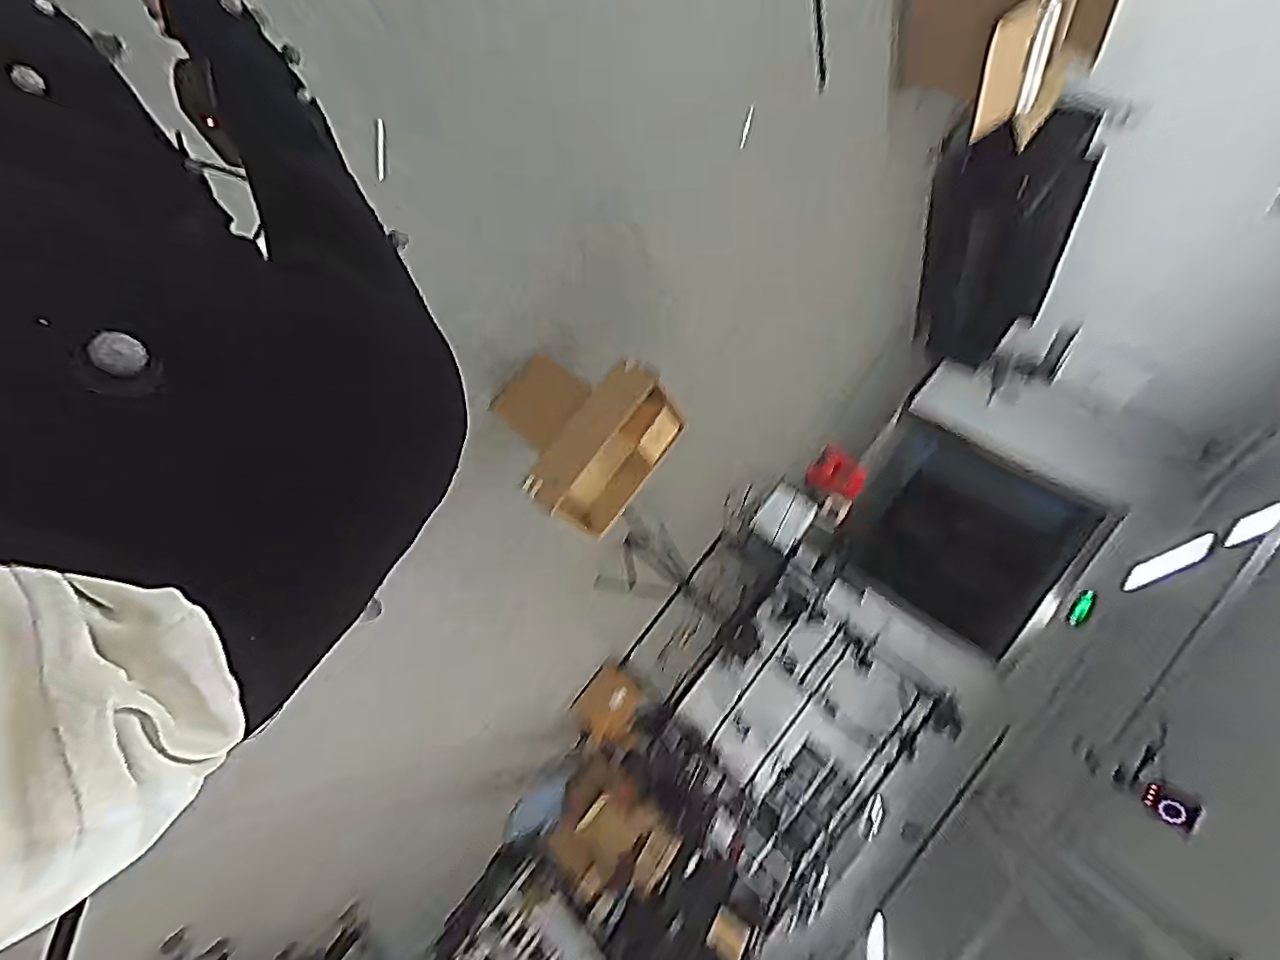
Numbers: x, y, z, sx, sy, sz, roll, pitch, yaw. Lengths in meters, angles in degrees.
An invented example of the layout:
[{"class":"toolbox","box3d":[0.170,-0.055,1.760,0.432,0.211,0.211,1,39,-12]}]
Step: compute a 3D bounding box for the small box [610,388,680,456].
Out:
[{"class":"small box","box3d":[0.019,-0.223,2.055,0.168,0.176,0.179,-54,150,-2]}]
